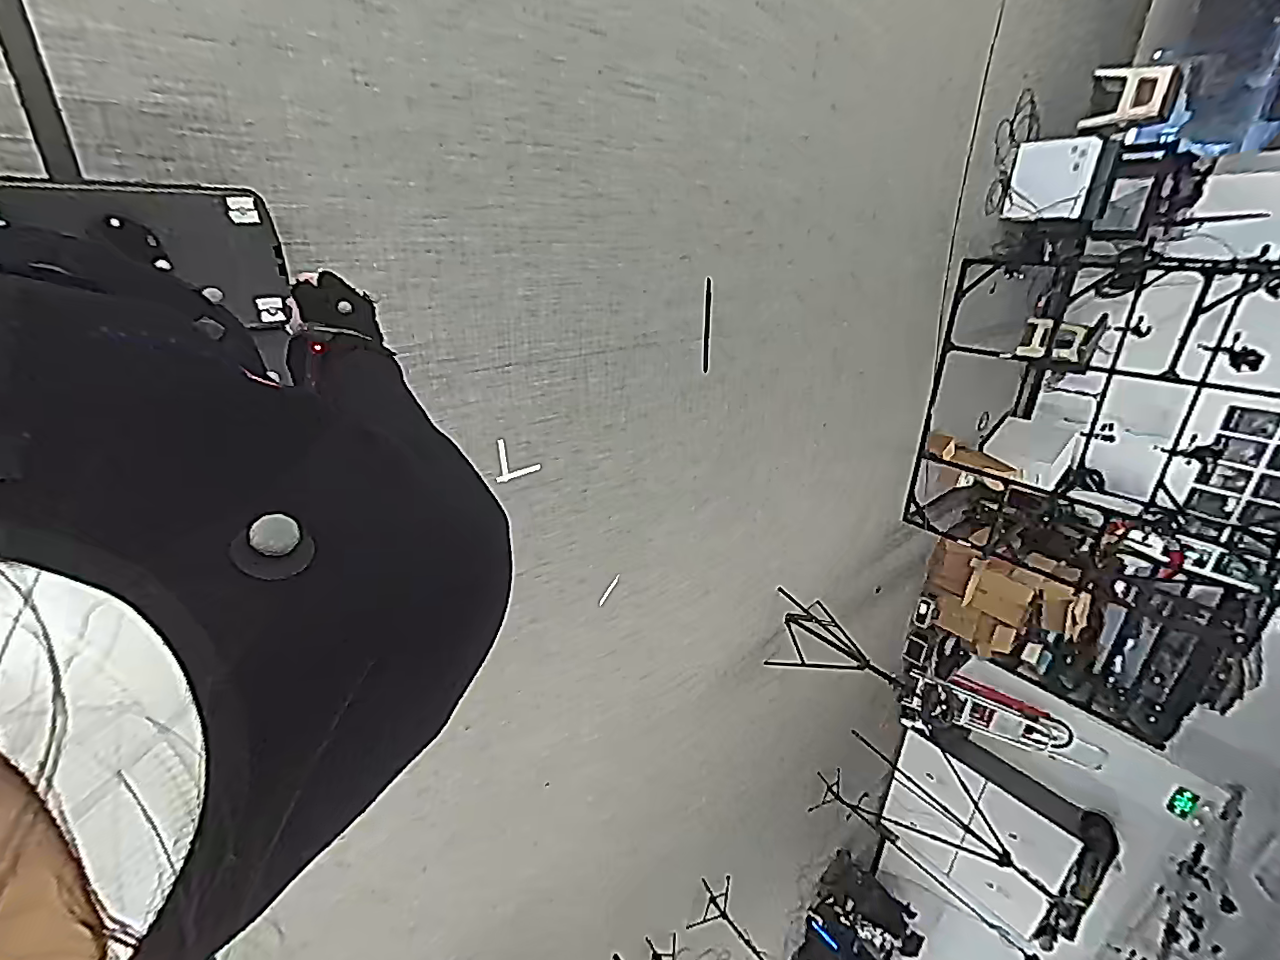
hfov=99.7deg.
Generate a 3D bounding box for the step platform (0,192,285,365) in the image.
[{"bbox_3d":[-1.093,-0.392,1.037,0.684,0.204,0.286,-20,123,-36],"label":"step platform"}]
